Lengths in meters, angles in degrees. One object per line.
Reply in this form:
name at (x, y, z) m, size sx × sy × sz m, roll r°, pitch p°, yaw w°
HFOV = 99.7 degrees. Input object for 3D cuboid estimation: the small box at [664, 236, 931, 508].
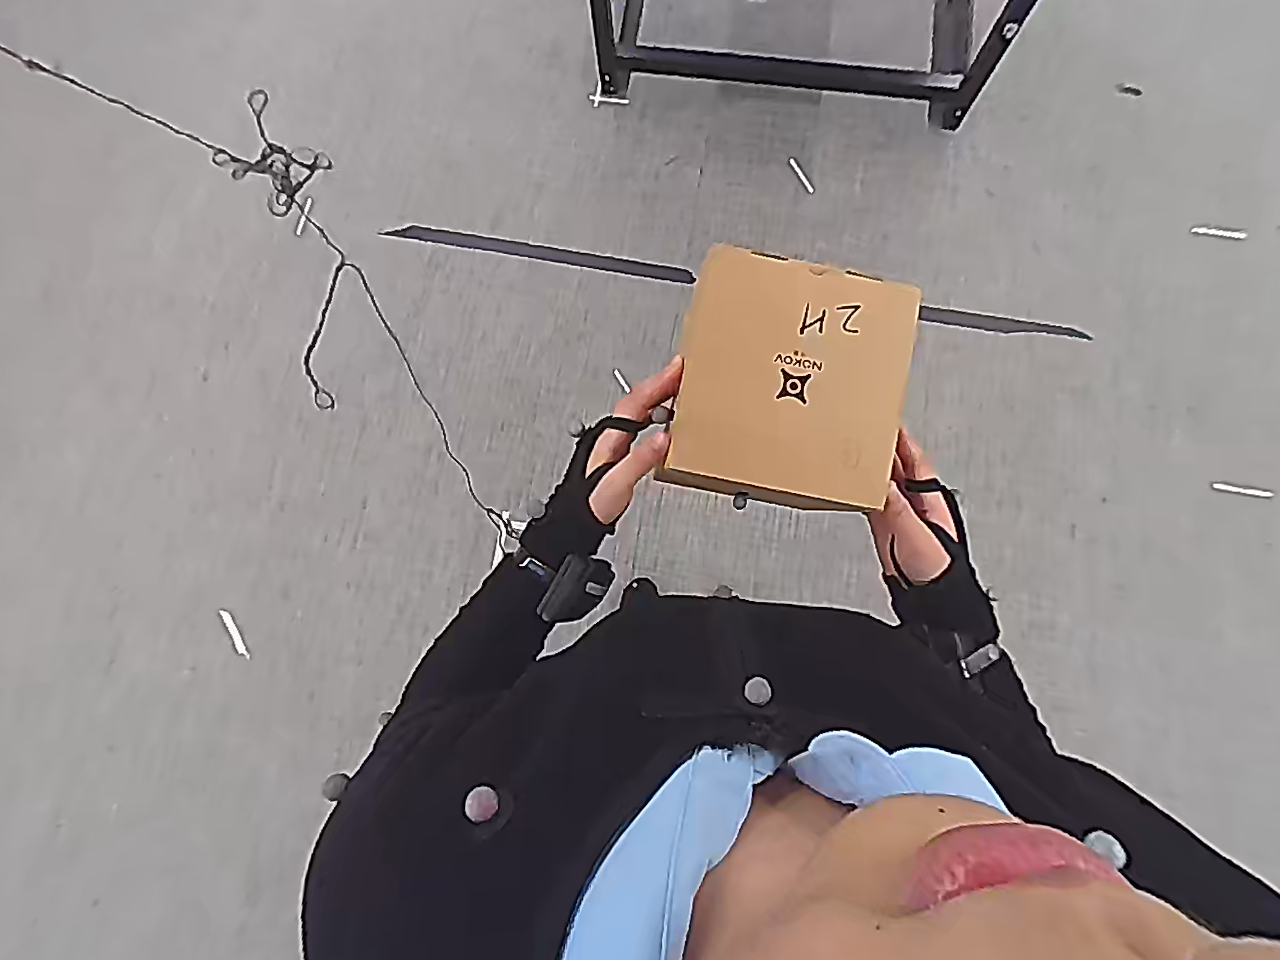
small box at (0.117, -0.075, 0.473) m, size 0.168 × 0.176 × 0.179 m, roll 11°, pitch 86°, yaw -2°
